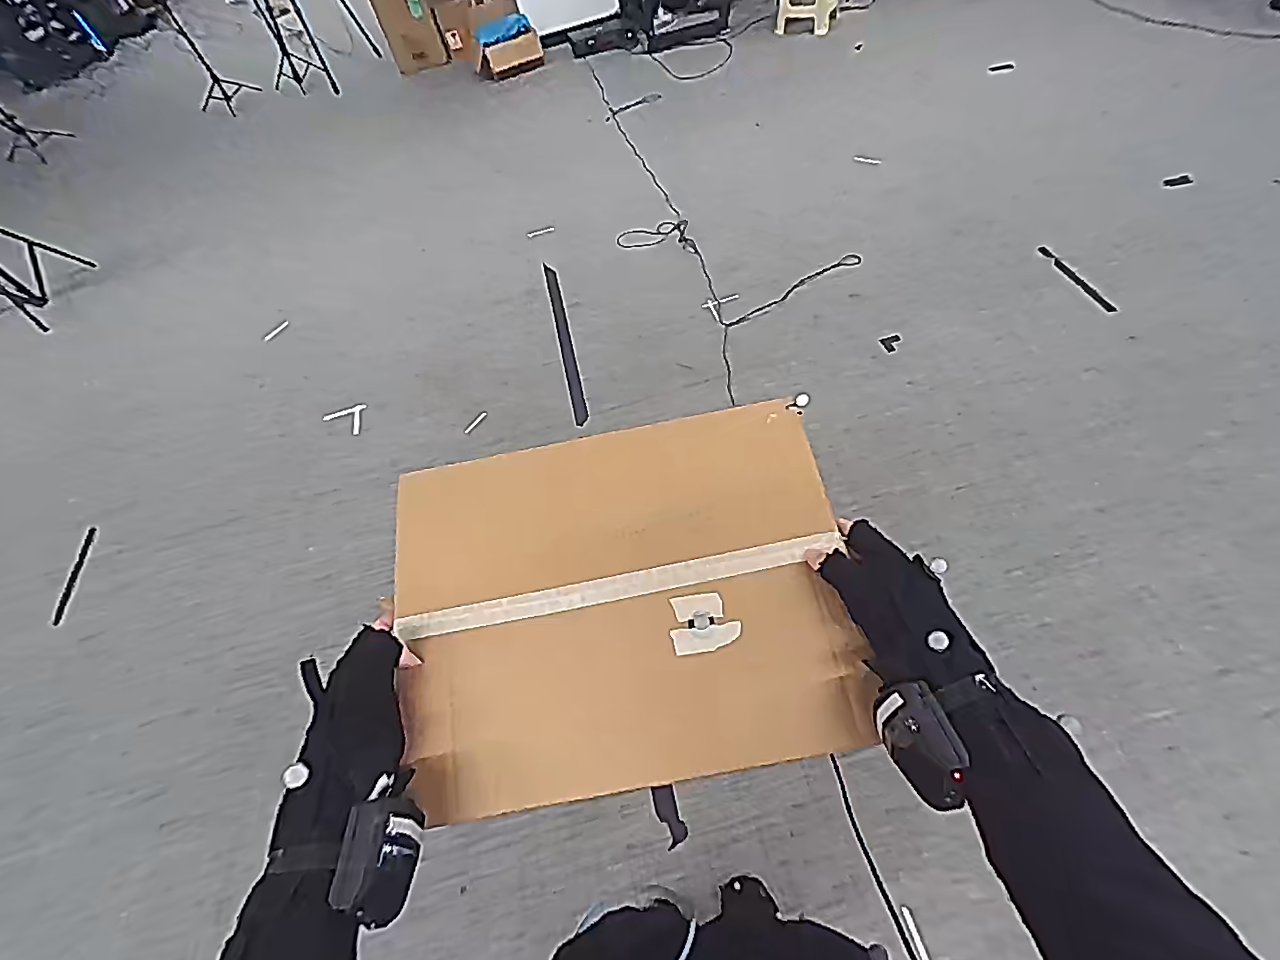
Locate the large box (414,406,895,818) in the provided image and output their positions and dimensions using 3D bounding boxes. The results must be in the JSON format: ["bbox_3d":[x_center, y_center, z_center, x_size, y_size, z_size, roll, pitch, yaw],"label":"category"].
[{"bbox_3d":[-0.002,0.159,0.631,0.408,0.320,0.320,-11,66,0],"label":"large box"}]
